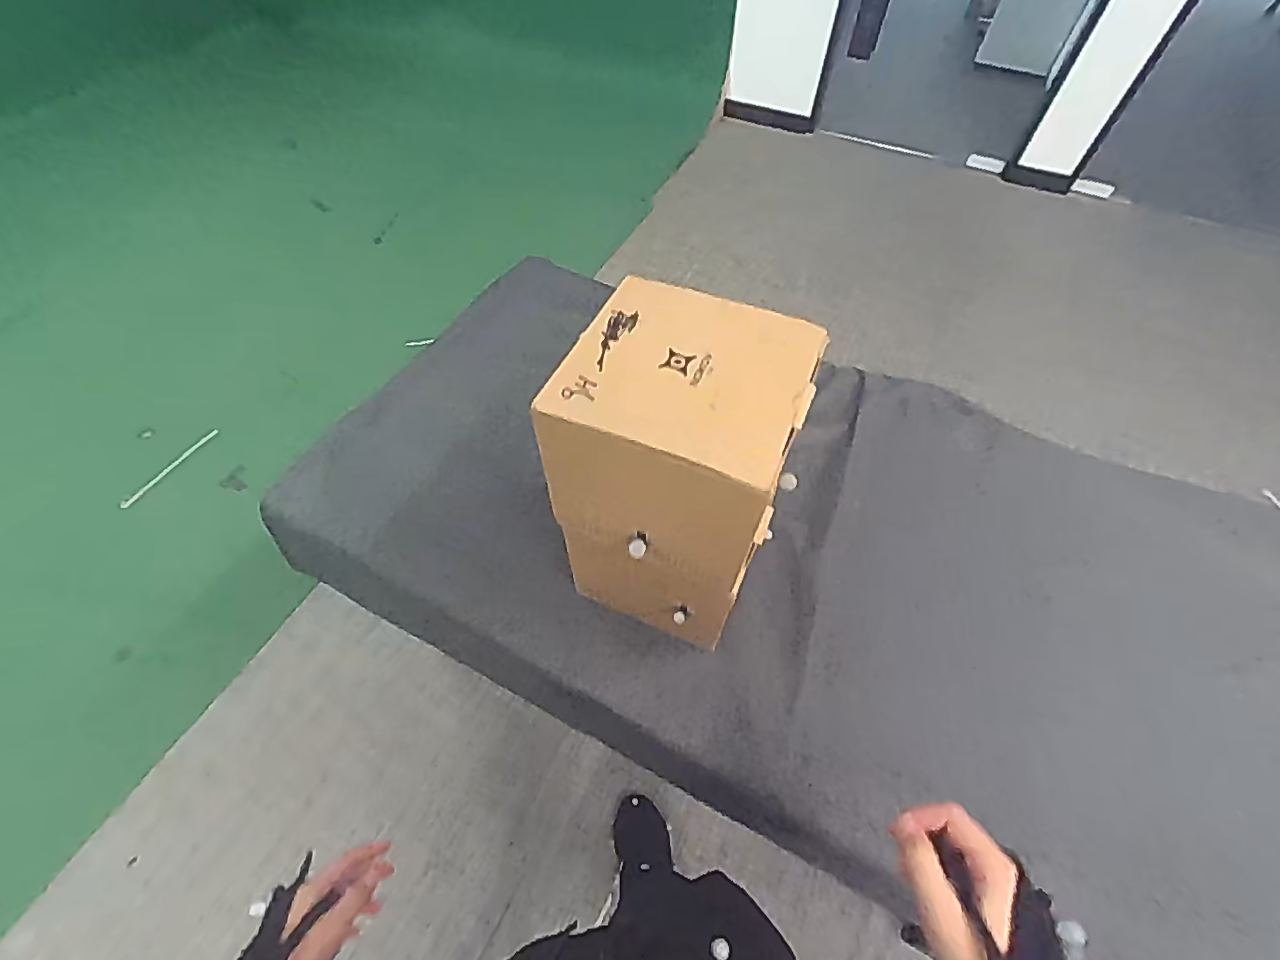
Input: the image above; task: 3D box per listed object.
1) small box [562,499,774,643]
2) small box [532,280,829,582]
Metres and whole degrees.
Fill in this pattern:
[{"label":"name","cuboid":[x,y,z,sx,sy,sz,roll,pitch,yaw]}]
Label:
[{"label":"small box","cuboid":[0.036,0.060,0.599,0.179,0.176,0.168,20,57,13]},{"label":"small box","cuboid":[0.034,-0.034,0.463,0.179,0.176,0.168,21,58,12]}]
